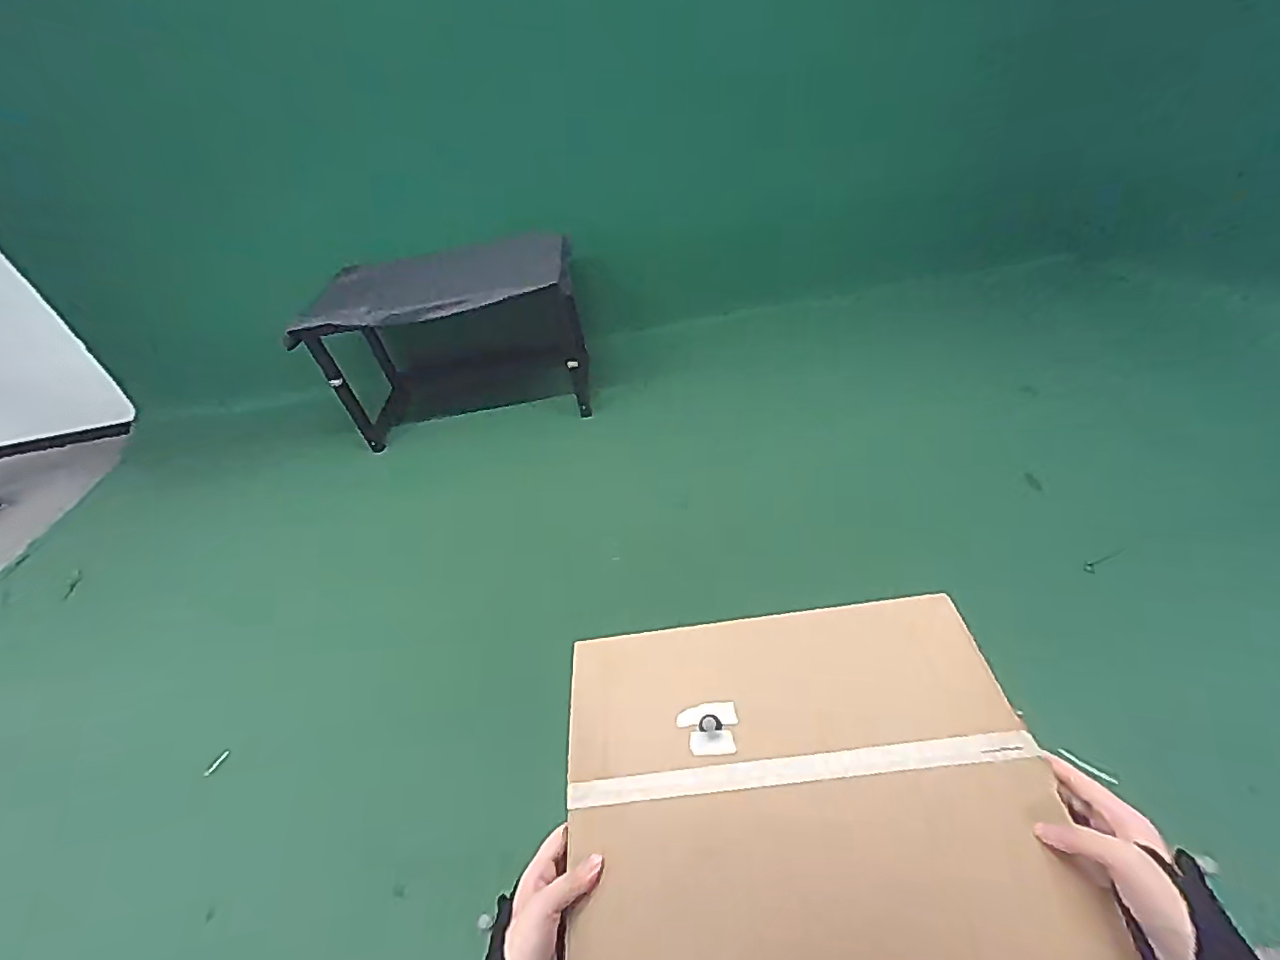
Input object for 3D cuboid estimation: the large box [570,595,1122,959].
[{"bbox_3d":[0.161,0.367,0.596,0.408,0.320,0.320,-10,44,6],"label":"large box"}]
